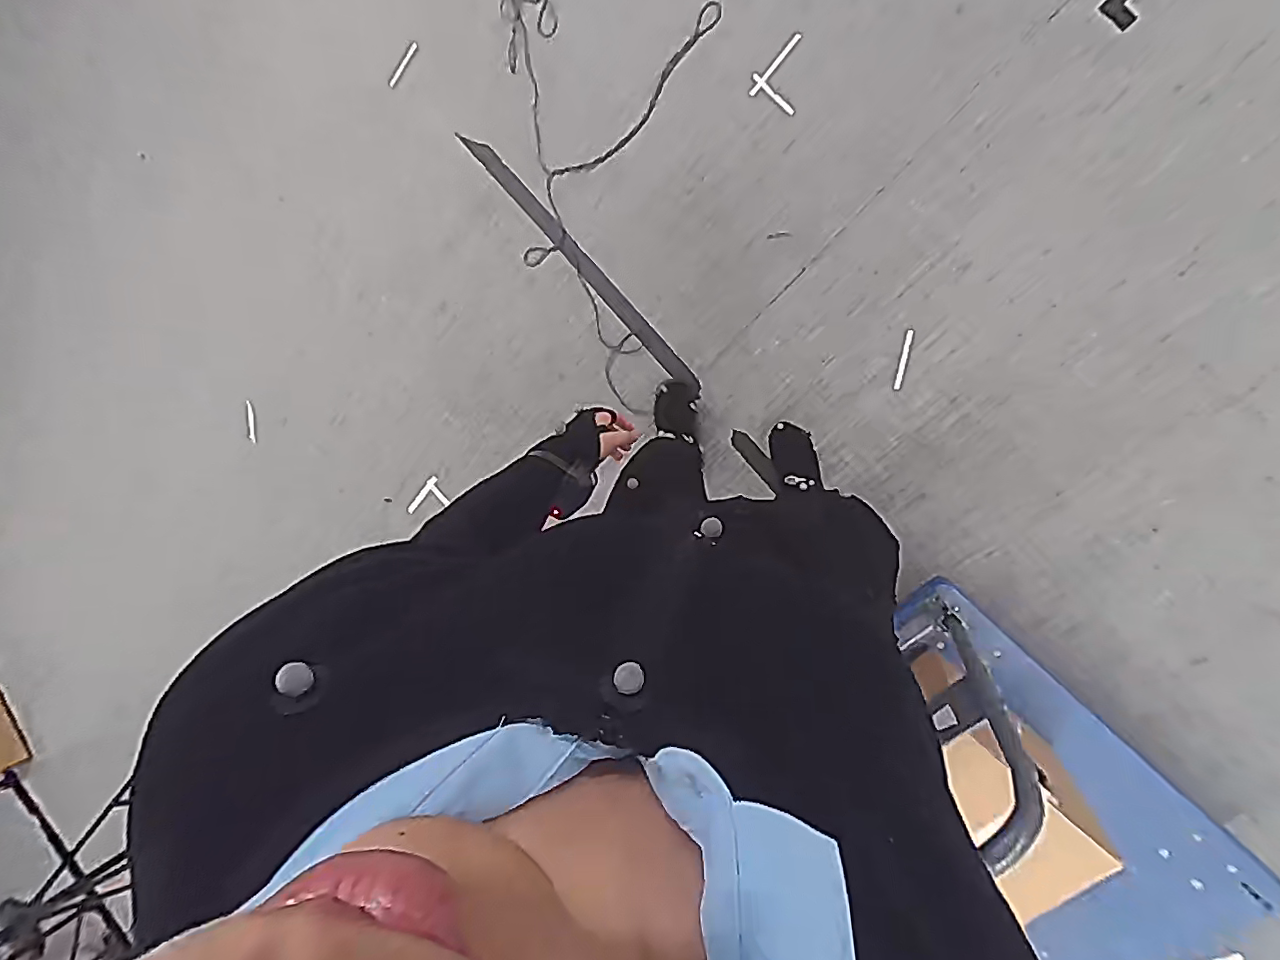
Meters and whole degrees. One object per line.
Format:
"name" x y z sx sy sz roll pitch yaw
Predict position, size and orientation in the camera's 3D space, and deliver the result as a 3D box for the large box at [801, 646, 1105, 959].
"large box" 0.587 0.630 1.105 0.320 0.320 0.408 41 110 10
